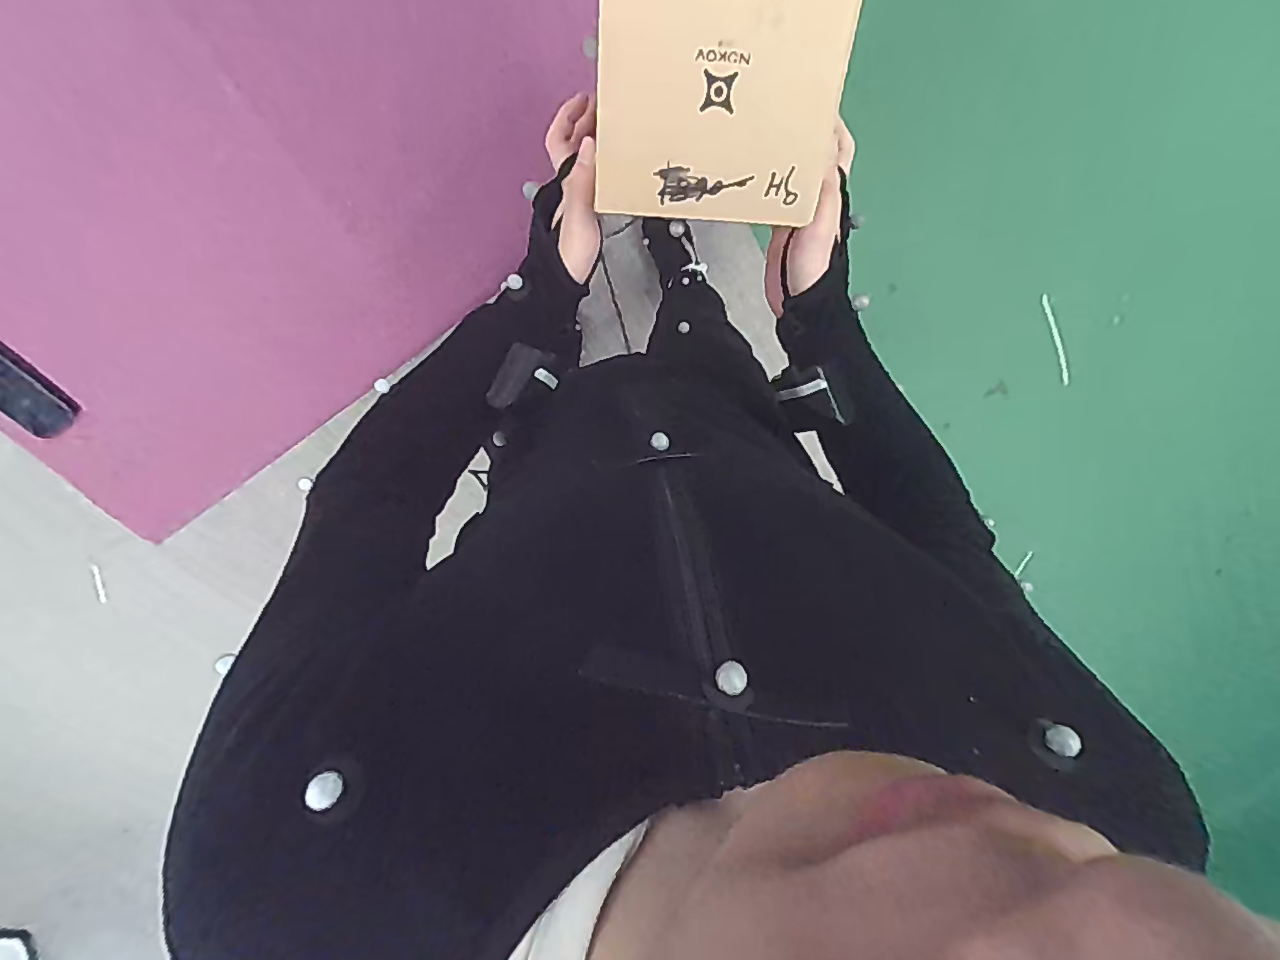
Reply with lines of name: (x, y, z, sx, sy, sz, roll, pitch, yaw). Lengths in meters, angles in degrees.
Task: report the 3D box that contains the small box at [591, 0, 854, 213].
small box: (0.048, -0.316, 0.420, 0.168, 0.176, 0.179, 2, 121, -3)
